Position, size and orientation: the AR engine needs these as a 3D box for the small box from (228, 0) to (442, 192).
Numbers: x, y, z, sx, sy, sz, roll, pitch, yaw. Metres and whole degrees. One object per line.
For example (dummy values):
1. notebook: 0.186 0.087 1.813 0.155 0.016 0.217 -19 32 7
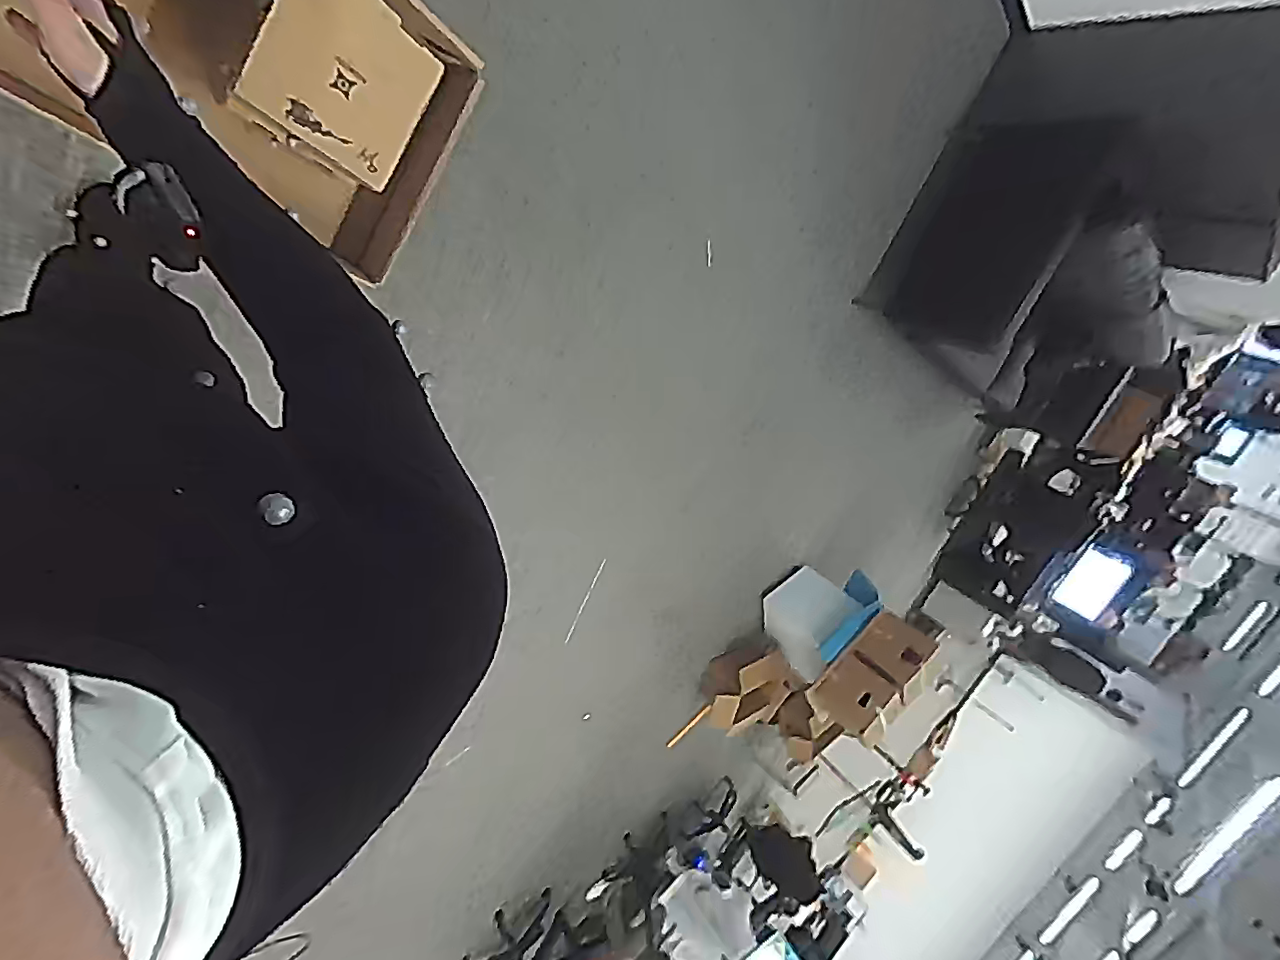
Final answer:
1. small box: -0.390 -0.505 0.683 0.168 0.176 0.179 25 102 -48

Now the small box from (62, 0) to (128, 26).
1. small box: -0.558 -0.563 0.487 0.168 0.176 0.179 18 106 -46

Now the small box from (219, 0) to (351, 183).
1. small box: -0.489 -0.578 0.792 0.168 0.176 0.179 22 105 -48
